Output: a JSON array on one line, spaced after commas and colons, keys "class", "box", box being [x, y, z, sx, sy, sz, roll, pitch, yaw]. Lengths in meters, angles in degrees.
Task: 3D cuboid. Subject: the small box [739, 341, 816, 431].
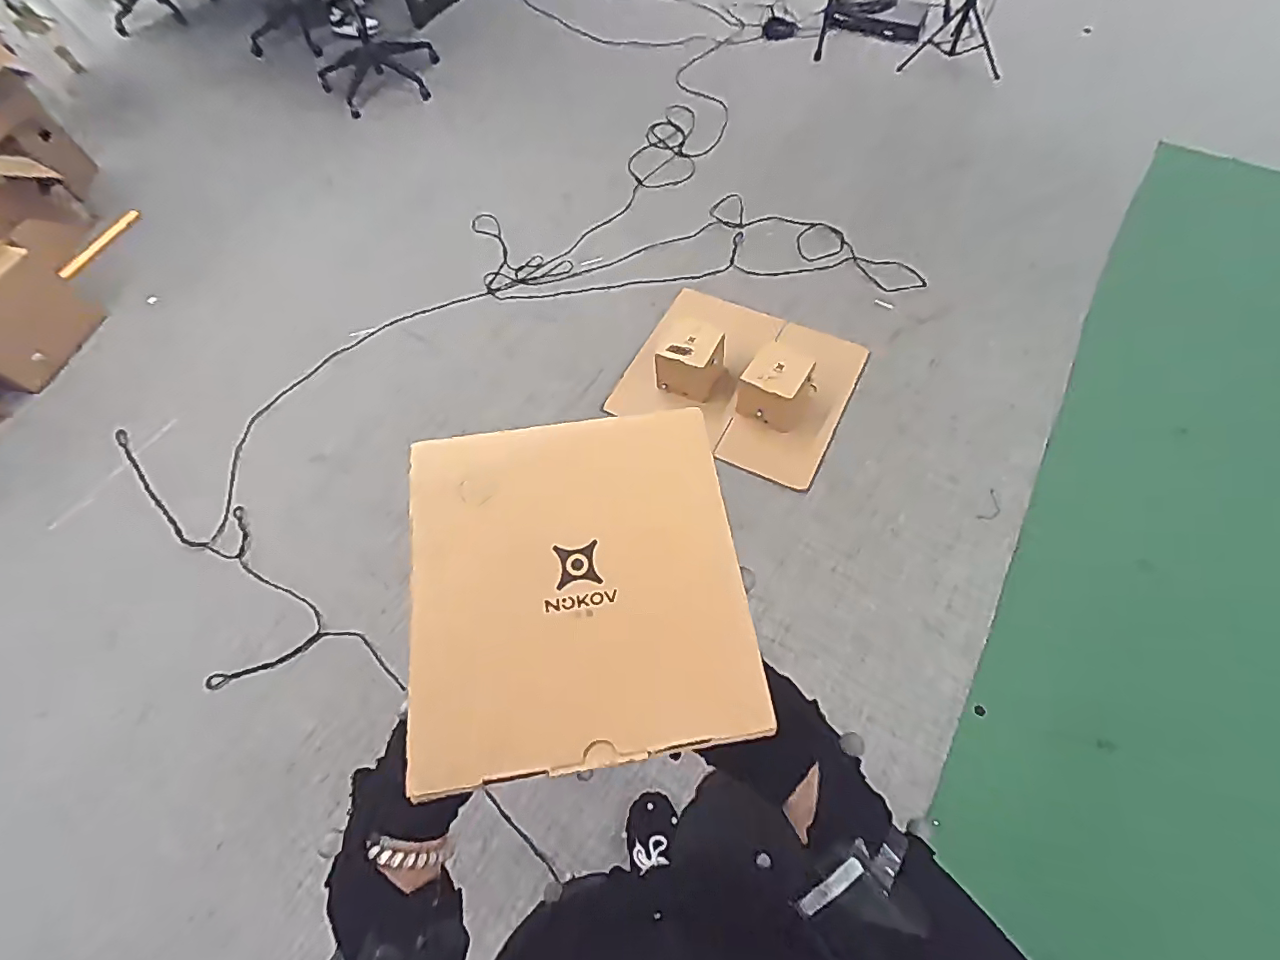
[{"class": "small box", "box": [0.412, -0.285, 1.651, 0.168, 0.176, 0.179, 28, 68, 19]}]

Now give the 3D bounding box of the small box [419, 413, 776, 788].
[{"class": "small box", "box": [-0.033, 0.079, 0.350, 0.168, 0.176, 0.179, -7, 68, -6]}]

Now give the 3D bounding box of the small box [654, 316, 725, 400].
[{"class": "small box", "box": [0.160, -0.384, 1.723, 0.168, 0.176, 0.179, 23, 65, 16]}]
